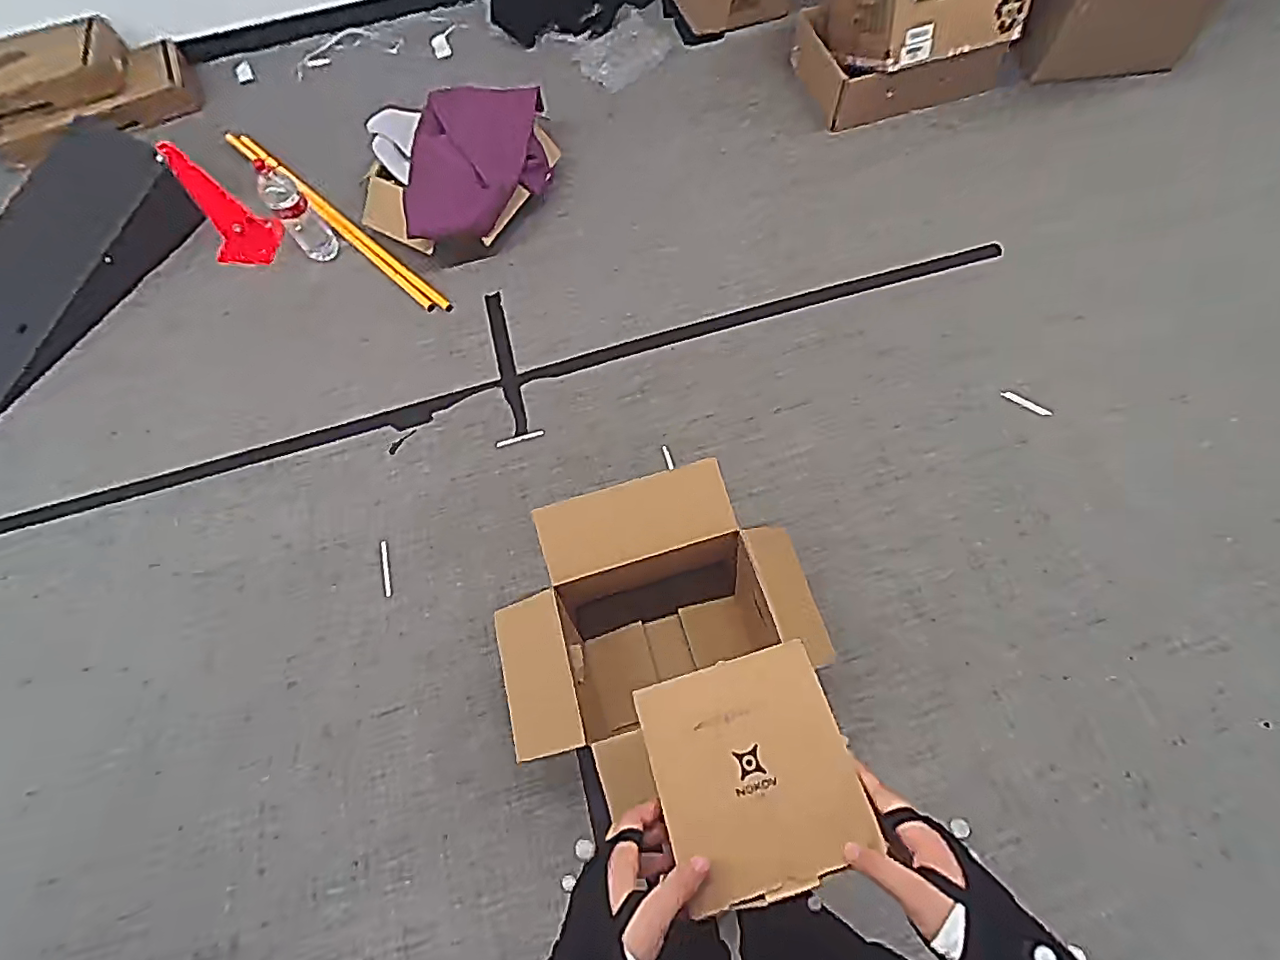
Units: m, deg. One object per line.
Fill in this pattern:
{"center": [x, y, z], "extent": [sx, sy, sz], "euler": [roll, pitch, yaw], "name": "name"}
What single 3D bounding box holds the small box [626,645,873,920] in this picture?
{"center": [0.096, 0.285, 0.535], "extent": [0.168, 0.176, 0.179], "euler": [-18, 62, -2], "name": "small box"}
